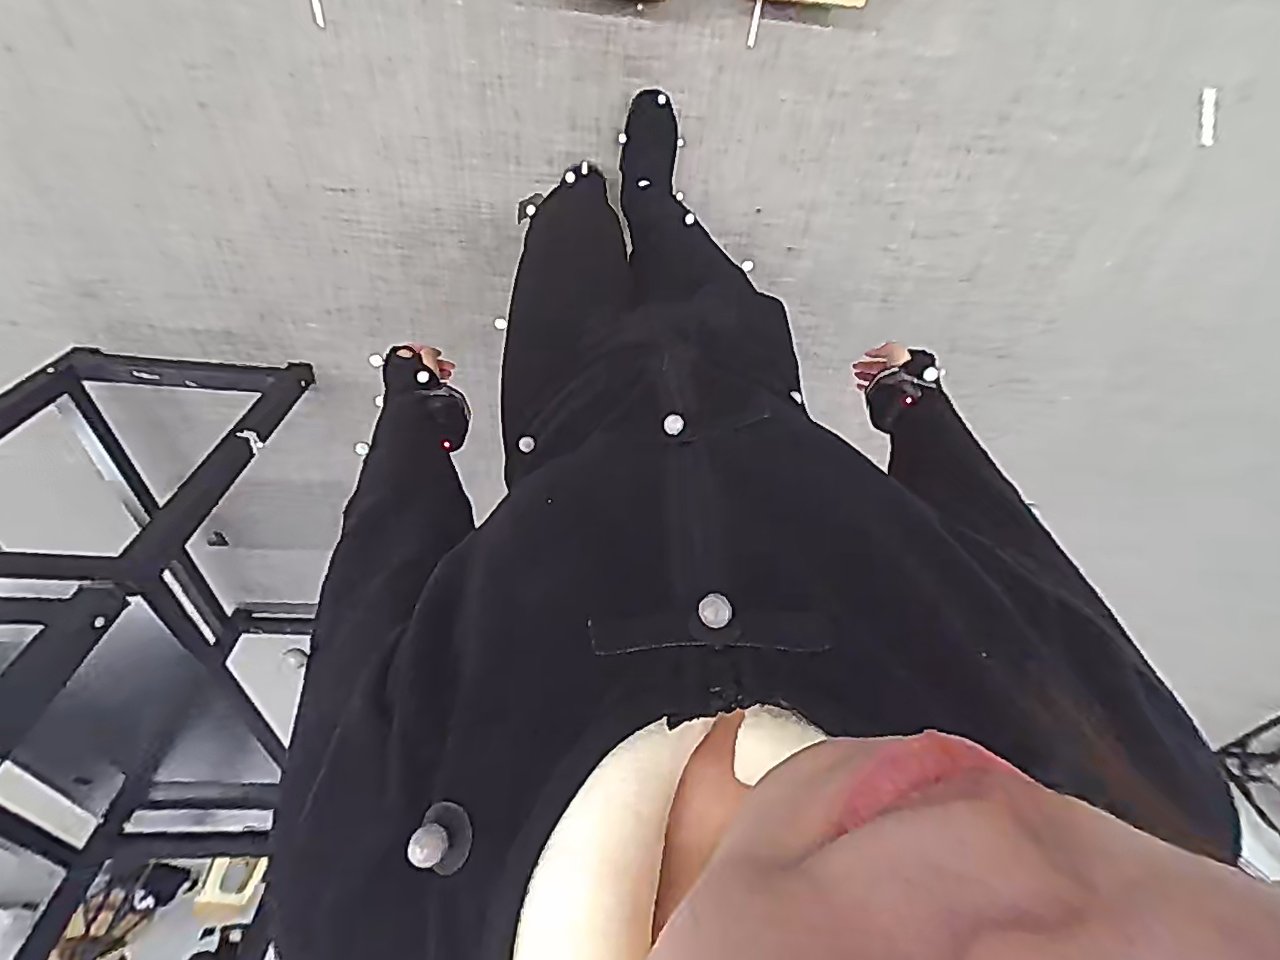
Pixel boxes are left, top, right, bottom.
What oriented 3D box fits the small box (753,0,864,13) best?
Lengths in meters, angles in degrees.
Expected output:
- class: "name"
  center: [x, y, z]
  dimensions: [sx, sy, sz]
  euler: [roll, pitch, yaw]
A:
- class: "small box"
  center: [0.280, -0.885, 0.885]
  dimensions: [0.179, 0.176, 0.168]
  euler: [2, 131, -6]
